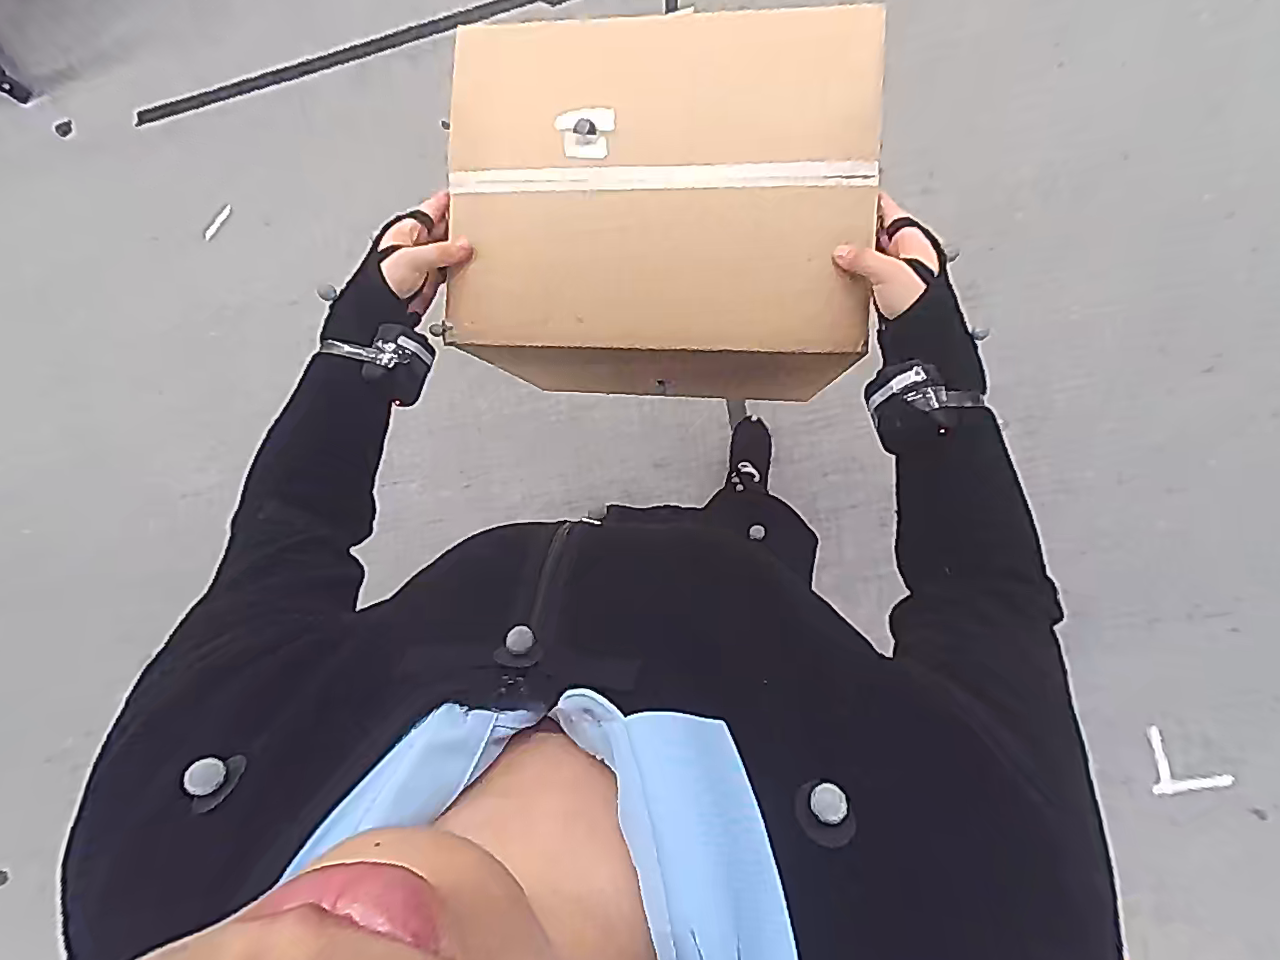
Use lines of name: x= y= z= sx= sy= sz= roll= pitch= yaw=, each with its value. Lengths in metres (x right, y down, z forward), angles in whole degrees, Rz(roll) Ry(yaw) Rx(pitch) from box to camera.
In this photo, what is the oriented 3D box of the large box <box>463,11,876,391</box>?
large box: x=0.040 y=-0.285 z=0.671 sx=0.408 sy=0.320 sz=0.320 roll=2 pitch=90 yaw=8
